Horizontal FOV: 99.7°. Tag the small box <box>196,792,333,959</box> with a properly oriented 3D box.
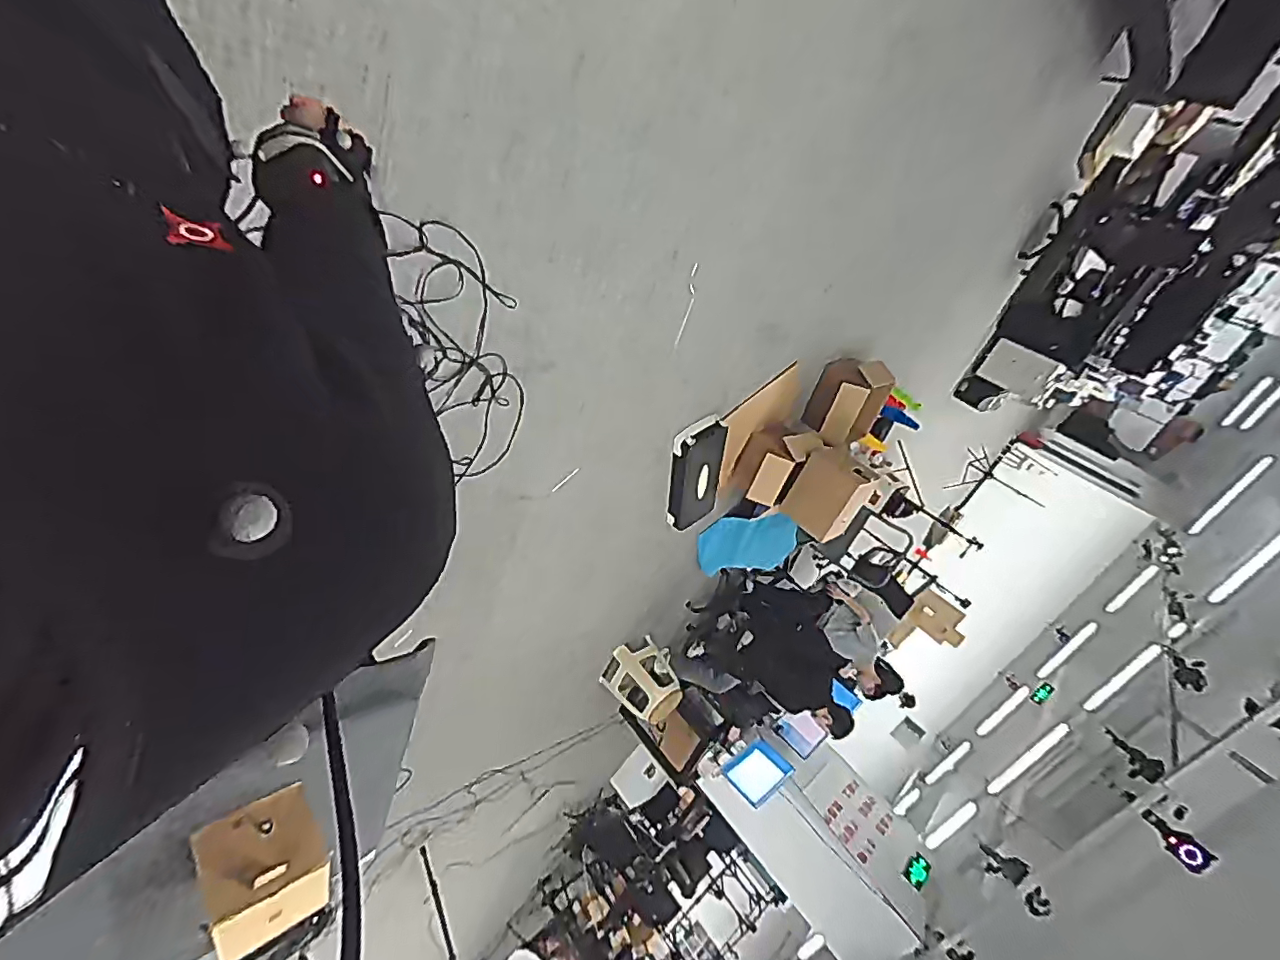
[{"bbox_3d":[-0.663,0.702,0.959,0.168,0.176,0.179,-13,133,-43],"label":"small box"}]
